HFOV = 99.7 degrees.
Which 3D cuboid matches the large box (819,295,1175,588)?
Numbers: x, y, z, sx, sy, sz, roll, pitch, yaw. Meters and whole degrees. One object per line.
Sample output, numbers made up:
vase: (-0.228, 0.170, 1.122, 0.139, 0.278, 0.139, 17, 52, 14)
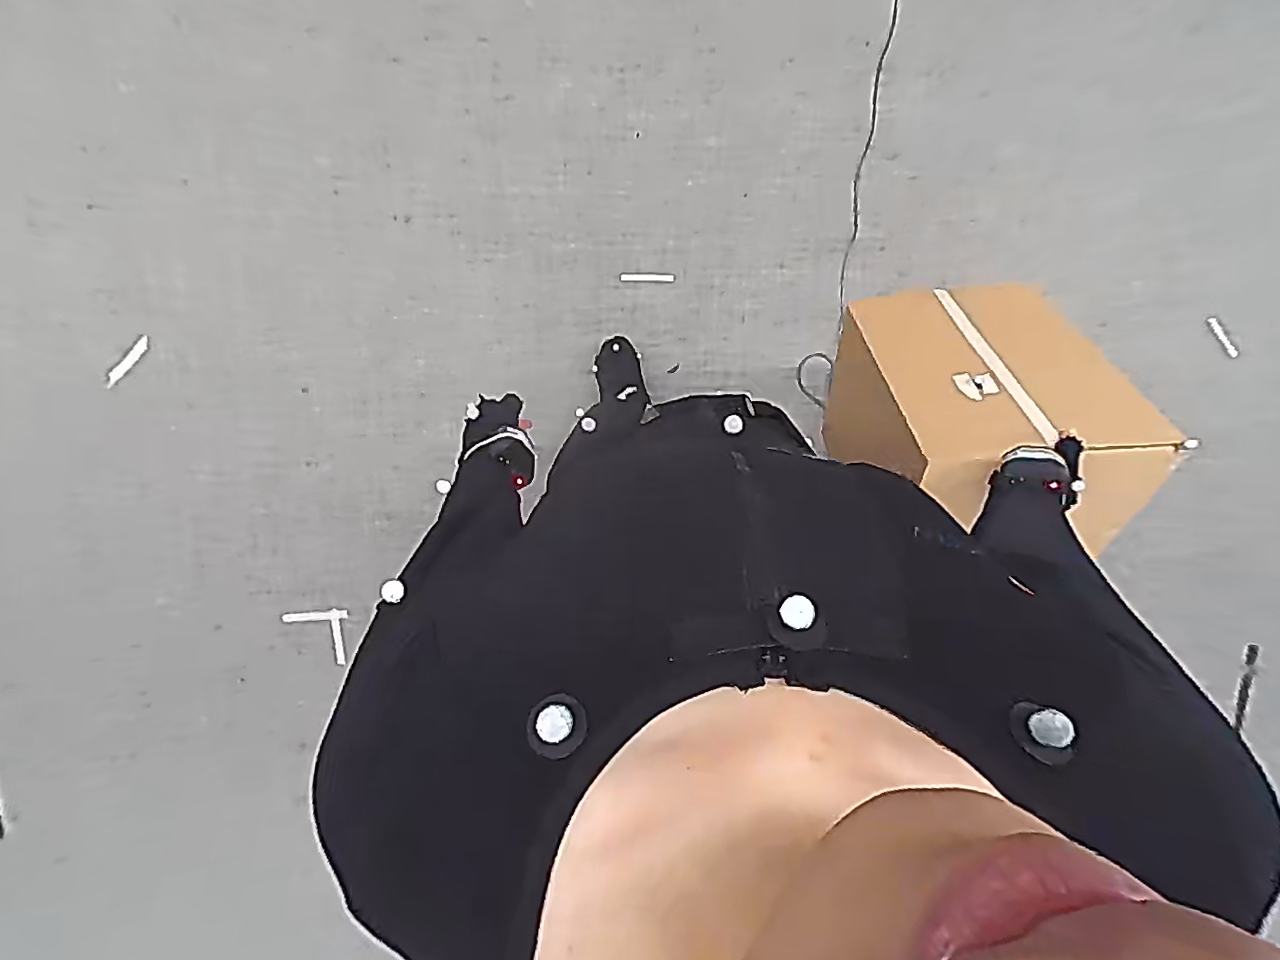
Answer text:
large box: (0.531, -0.070, 0.929, 0.320, 0.408, 0.320, -4, 138, 4)
